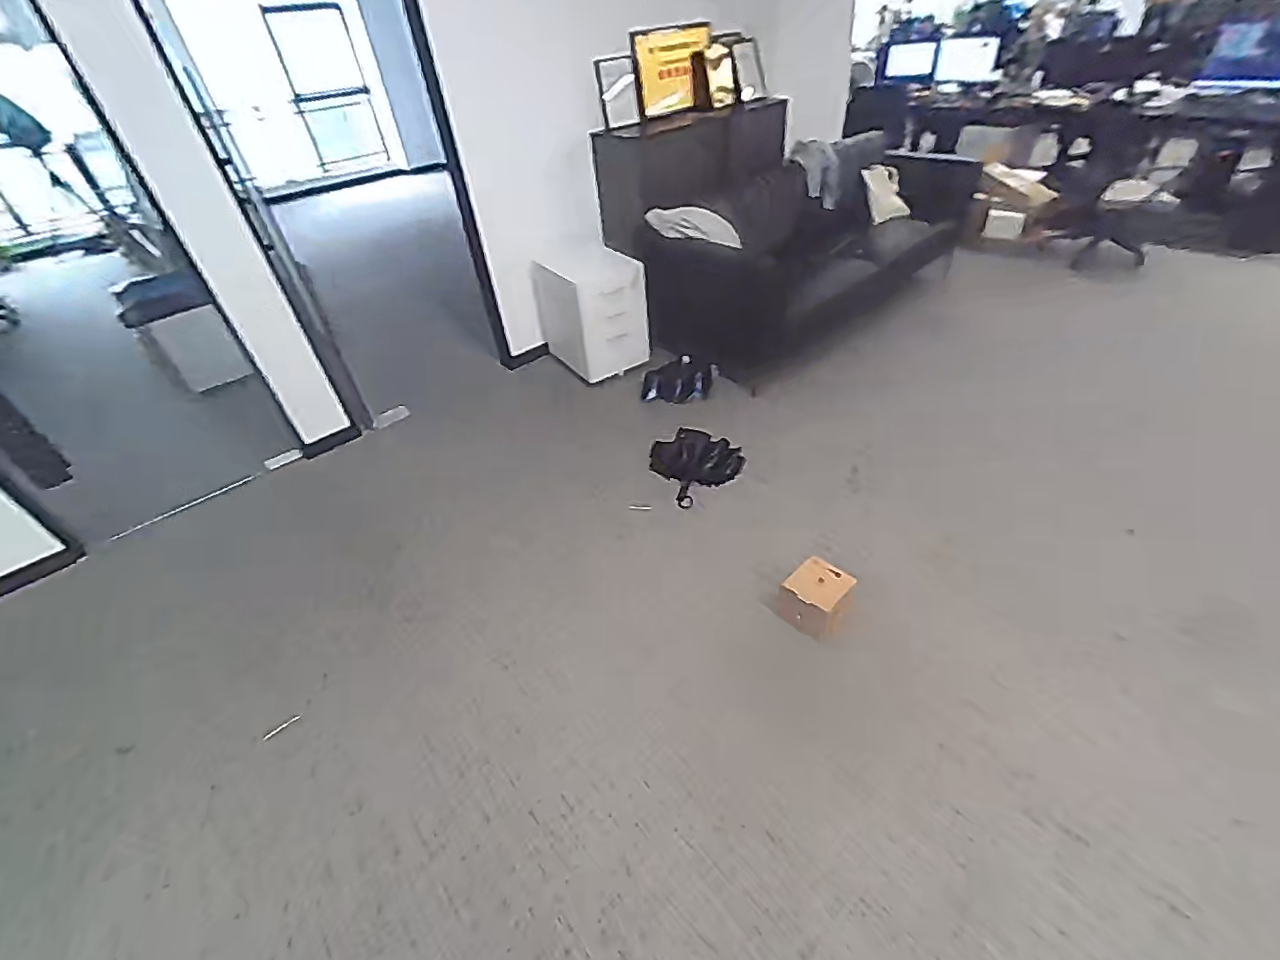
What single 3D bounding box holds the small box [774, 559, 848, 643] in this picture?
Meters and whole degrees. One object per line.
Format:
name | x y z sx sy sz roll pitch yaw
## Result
small box | 0.559 0.402 1.782 0.179 0.176 0.168 -35 48 -29
